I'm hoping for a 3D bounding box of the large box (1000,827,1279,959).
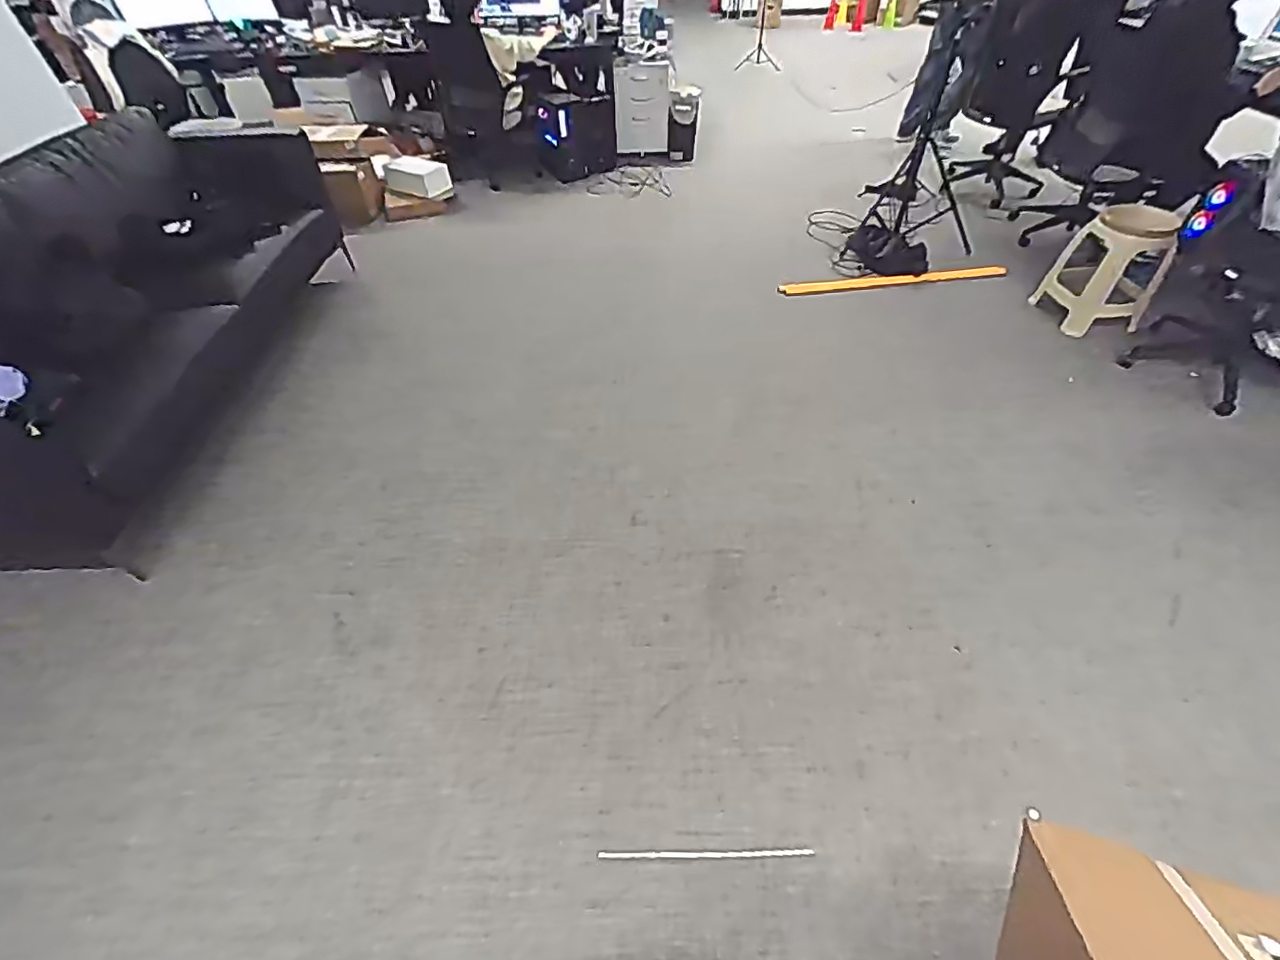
[{"bbox_3d":[0.611,0.684,0.568,0.320,0.408,0.320,12,94,22],"label":"large box"}]
